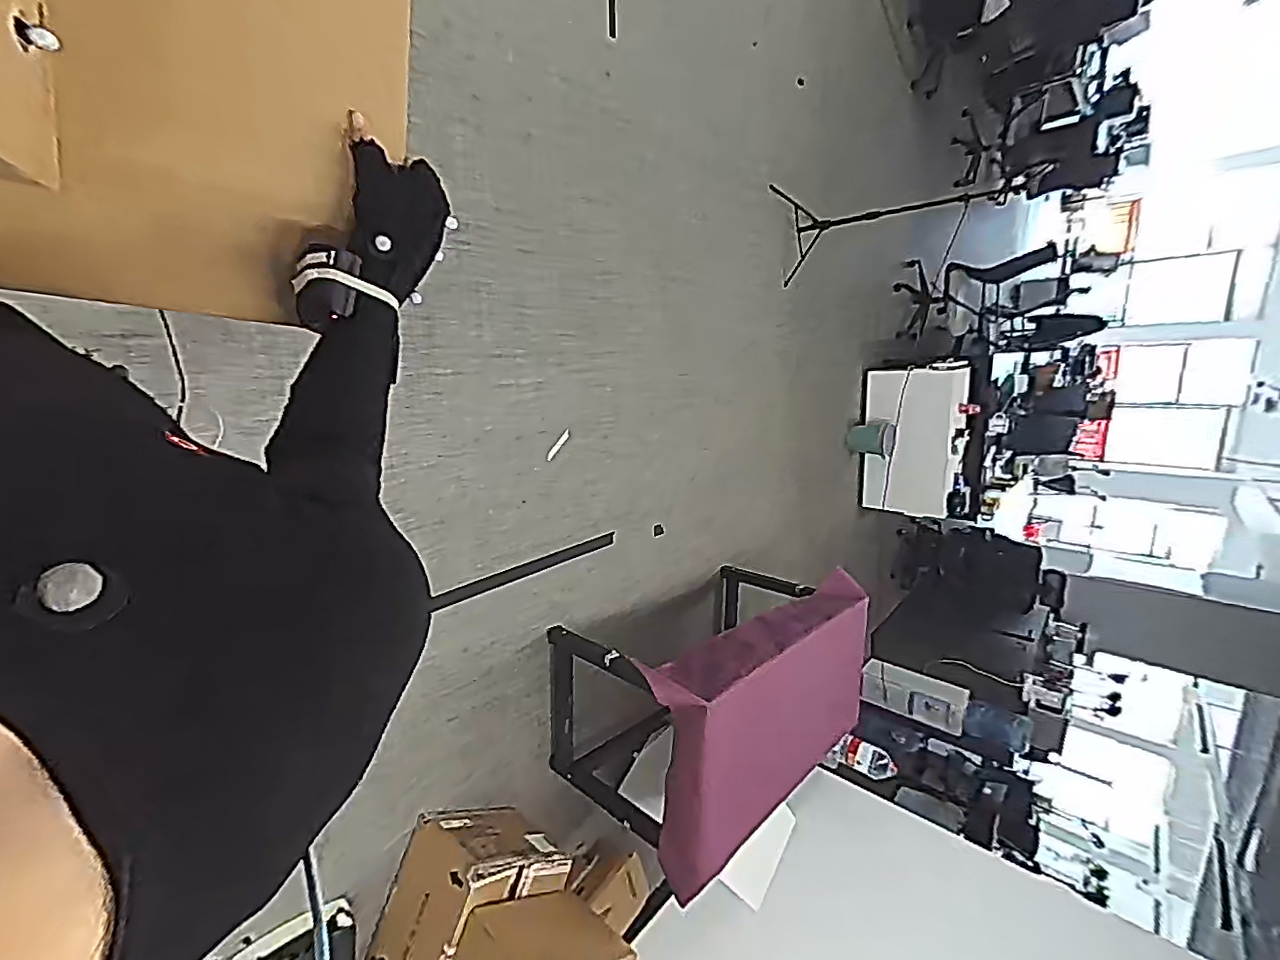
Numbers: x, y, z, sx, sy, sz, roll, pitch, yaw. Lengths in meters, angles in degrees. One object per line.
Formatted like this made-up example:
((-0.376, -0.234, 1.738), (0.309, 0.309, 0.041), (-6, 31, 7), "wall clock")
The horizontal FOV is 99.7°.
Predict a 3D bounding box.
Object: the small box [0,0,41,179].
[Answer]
((-0.429, -0.263, 0.258), (0.179, 0.176, 0.168), (0, 105, -38), "small box")
